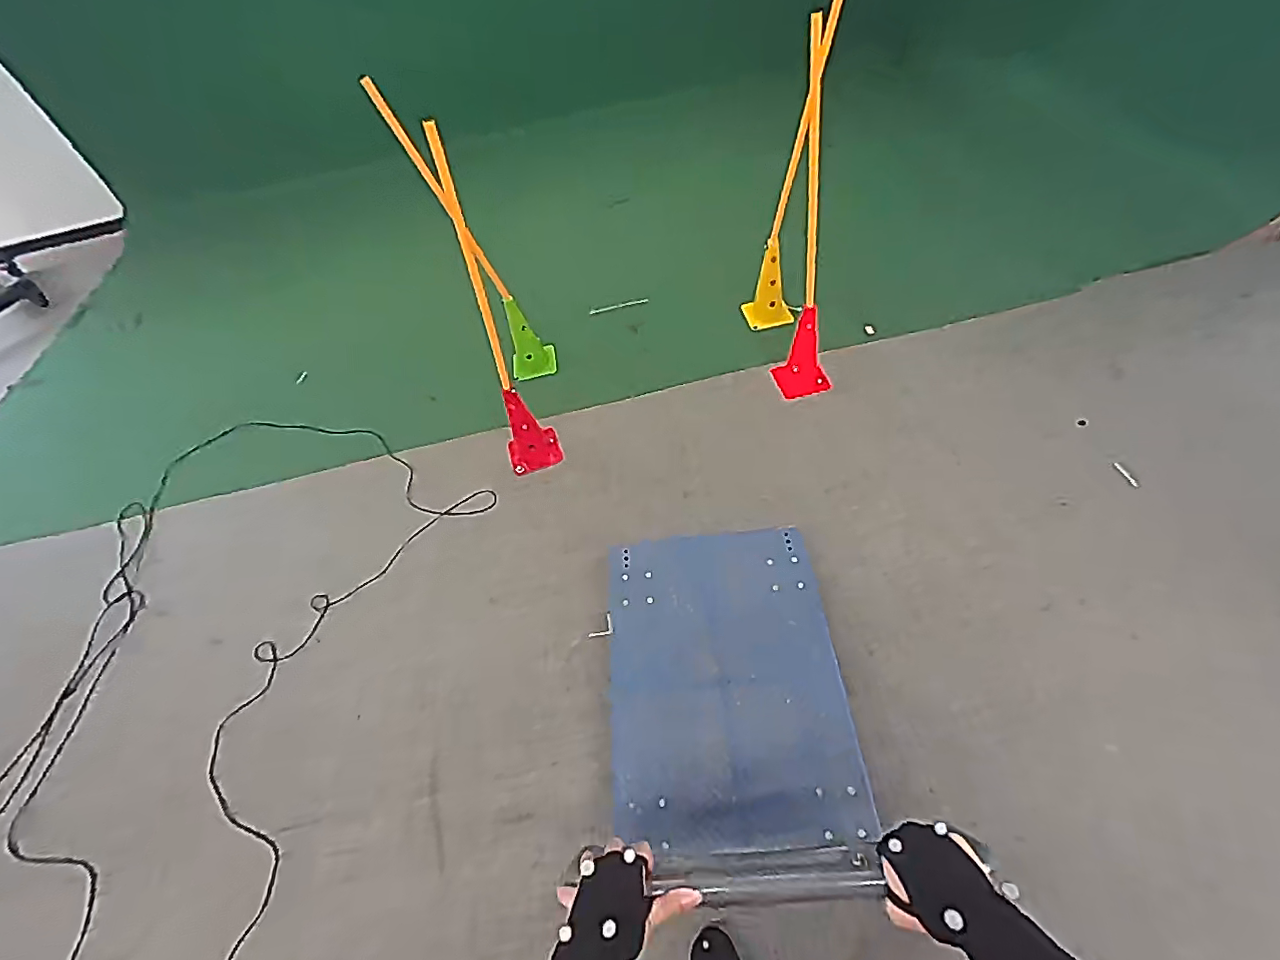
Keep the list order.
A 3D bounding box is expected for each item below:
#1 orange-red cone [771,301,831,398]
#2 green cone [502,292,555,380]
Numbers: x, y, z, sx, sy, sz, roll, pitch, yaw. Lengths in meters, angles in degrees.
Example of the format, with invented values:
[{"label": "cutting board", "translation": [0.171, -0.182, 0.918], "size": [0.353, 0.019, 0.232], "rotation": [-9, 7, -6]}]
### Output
[{"label": "orange-red cone", "translation": [0.631, -0.520, 2.068], "size": [0.198, 0.360, 0.199], "rotation": [-13, 50, -1]}, {"label": "green cone", "translation": [-0.517, -0.648, 2.356], "size": [0.200, 0.368, 0.202], "rotation": [-14, 51, 0]}]
